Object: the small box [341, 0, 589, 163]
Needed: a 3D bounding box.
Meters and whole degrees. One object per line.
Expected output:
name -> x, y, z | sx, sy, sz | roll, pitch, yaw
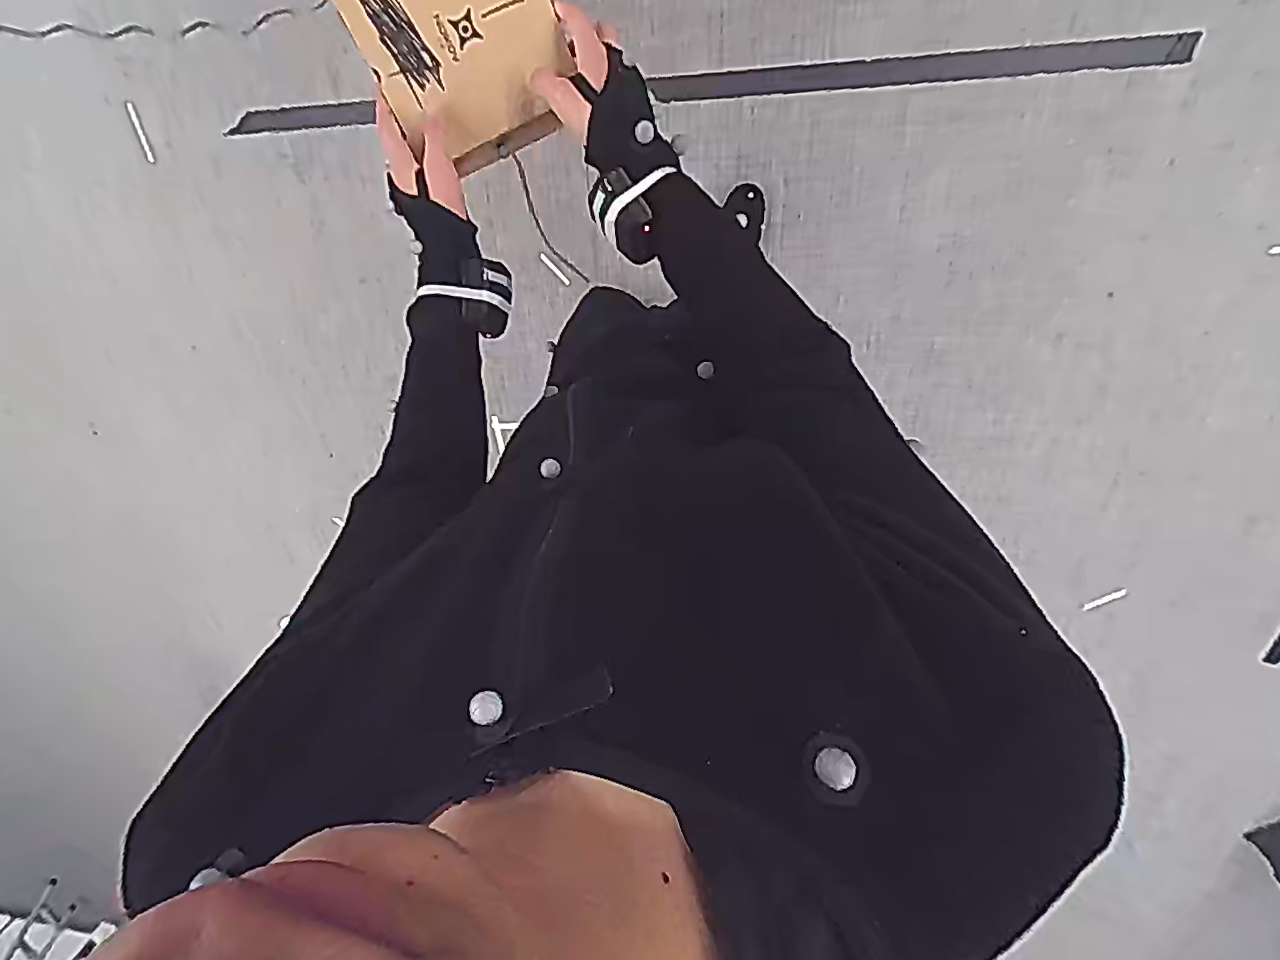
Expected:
small box -> -0.161, -0.438, 0.539 | 0.179, 0.176, 0.168 | -22, 118, 8
